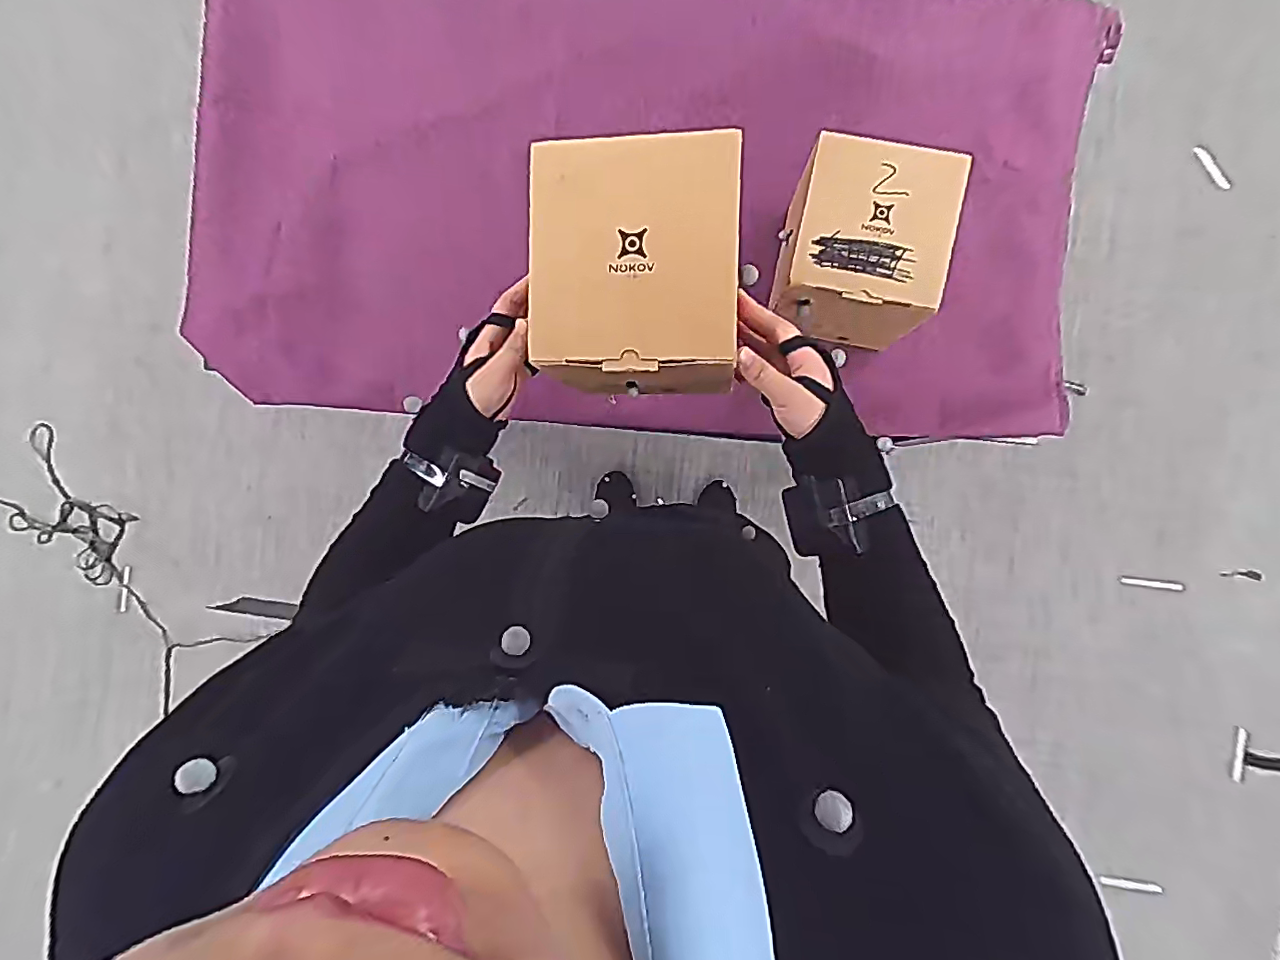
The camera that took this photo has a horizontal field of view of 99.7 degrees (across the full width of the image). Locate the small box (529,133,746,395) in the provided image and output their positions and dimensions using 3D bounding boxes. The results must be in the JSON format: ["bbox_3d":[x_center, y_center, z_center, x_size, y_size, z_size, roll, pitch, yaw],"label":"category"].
[{"bbox_3d":[0.005,-0.178,0.494,0.168,0.176,0.179,1,92,7],"label":"small box"}]
